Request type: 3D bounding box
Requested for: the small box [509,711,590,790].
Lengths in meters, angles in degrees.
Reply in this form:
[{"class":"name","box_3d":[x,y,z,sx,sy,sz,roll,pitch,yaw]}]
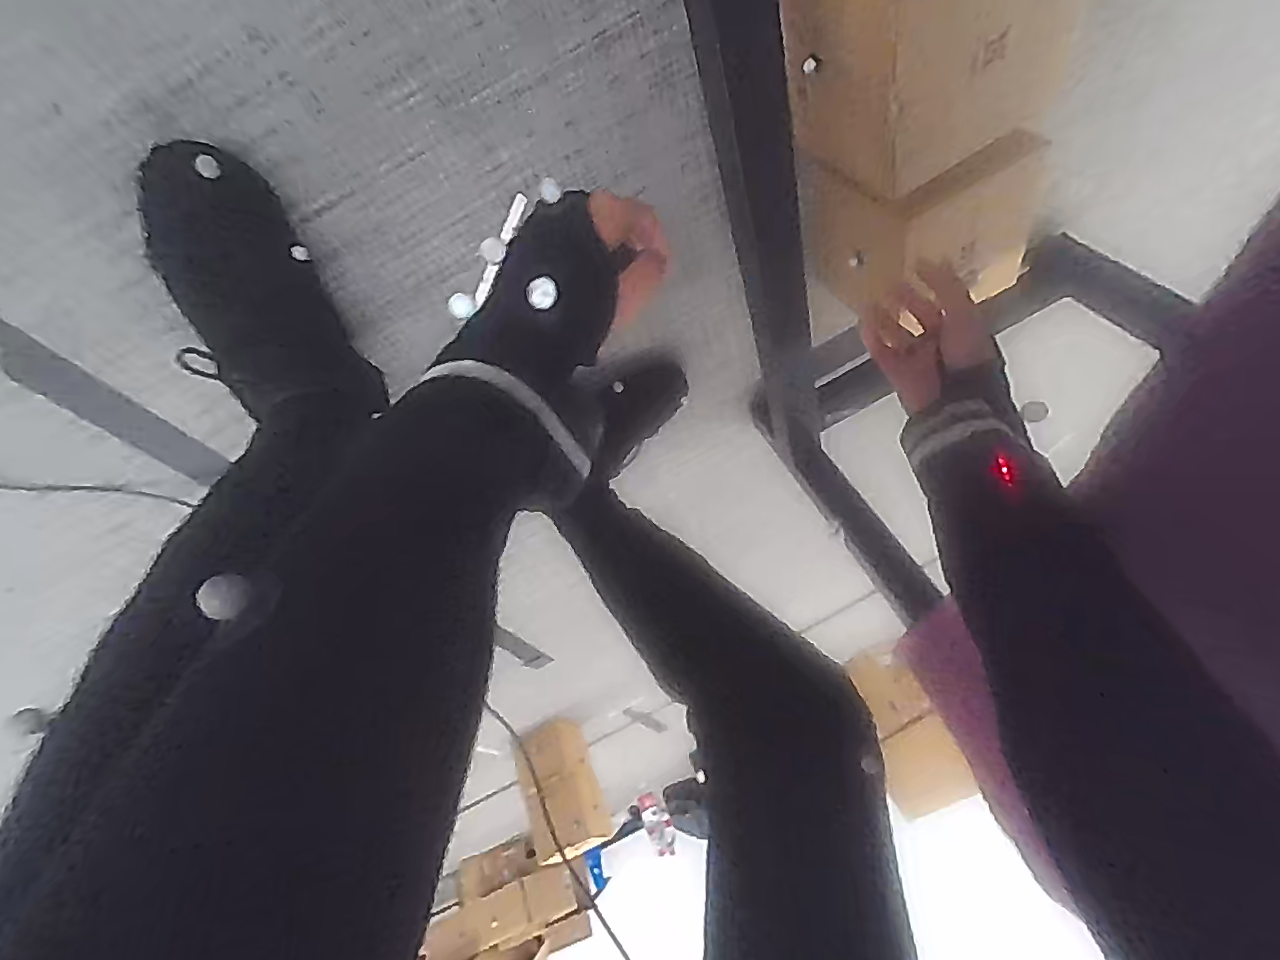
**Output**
[{"class":"small box","box_3d":[-0.282,0.843,1.685,0.168,0.176,0.179,-30,143,5]}]
